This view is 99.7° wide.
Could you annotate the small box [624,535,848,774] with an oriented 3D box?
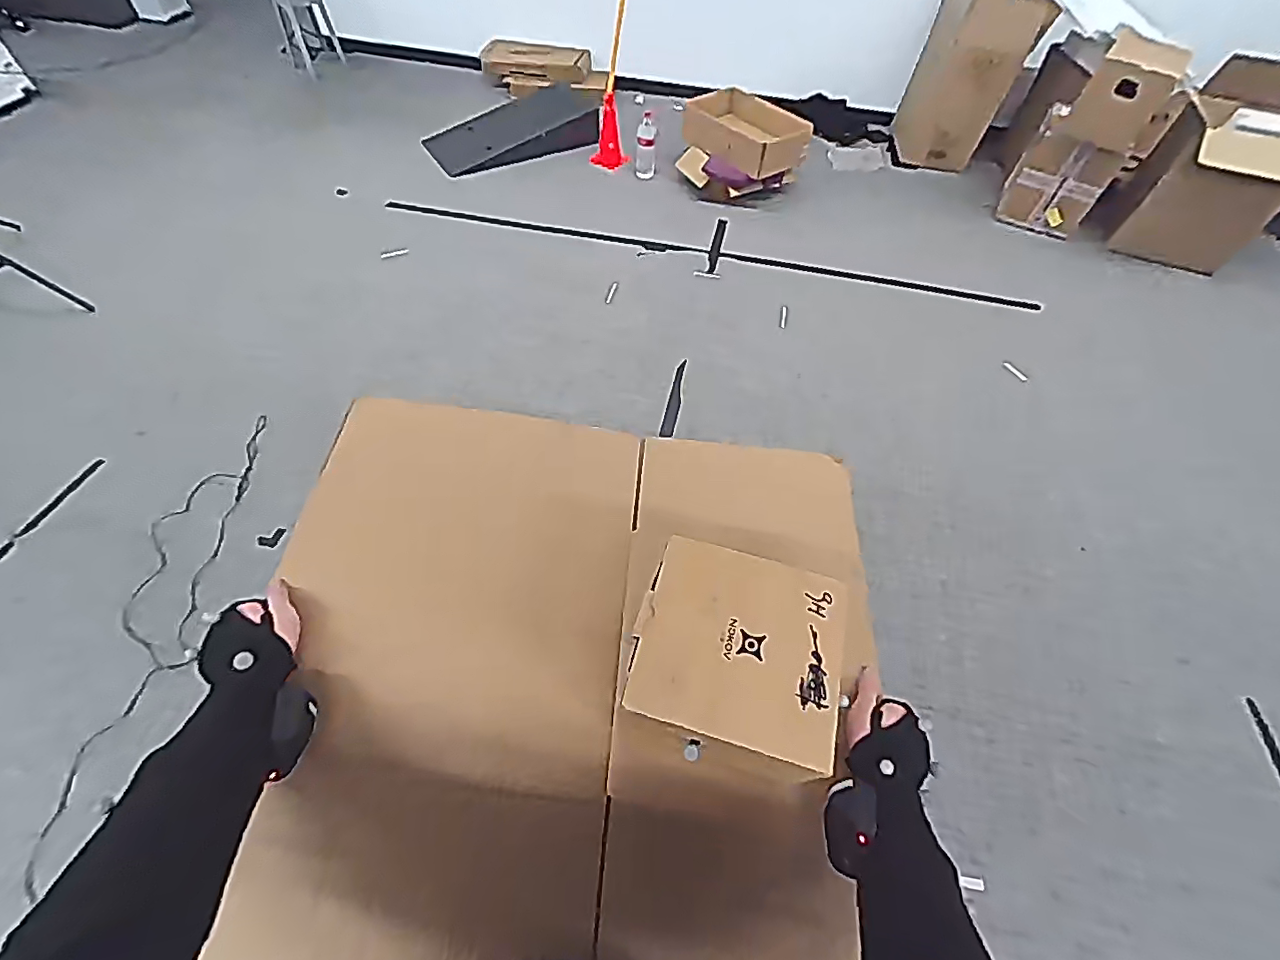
[{"bbox_3d":[0.090,0.182,0.547,0.179,0.176,0.168,15,59,7],"label":"small box"}]
